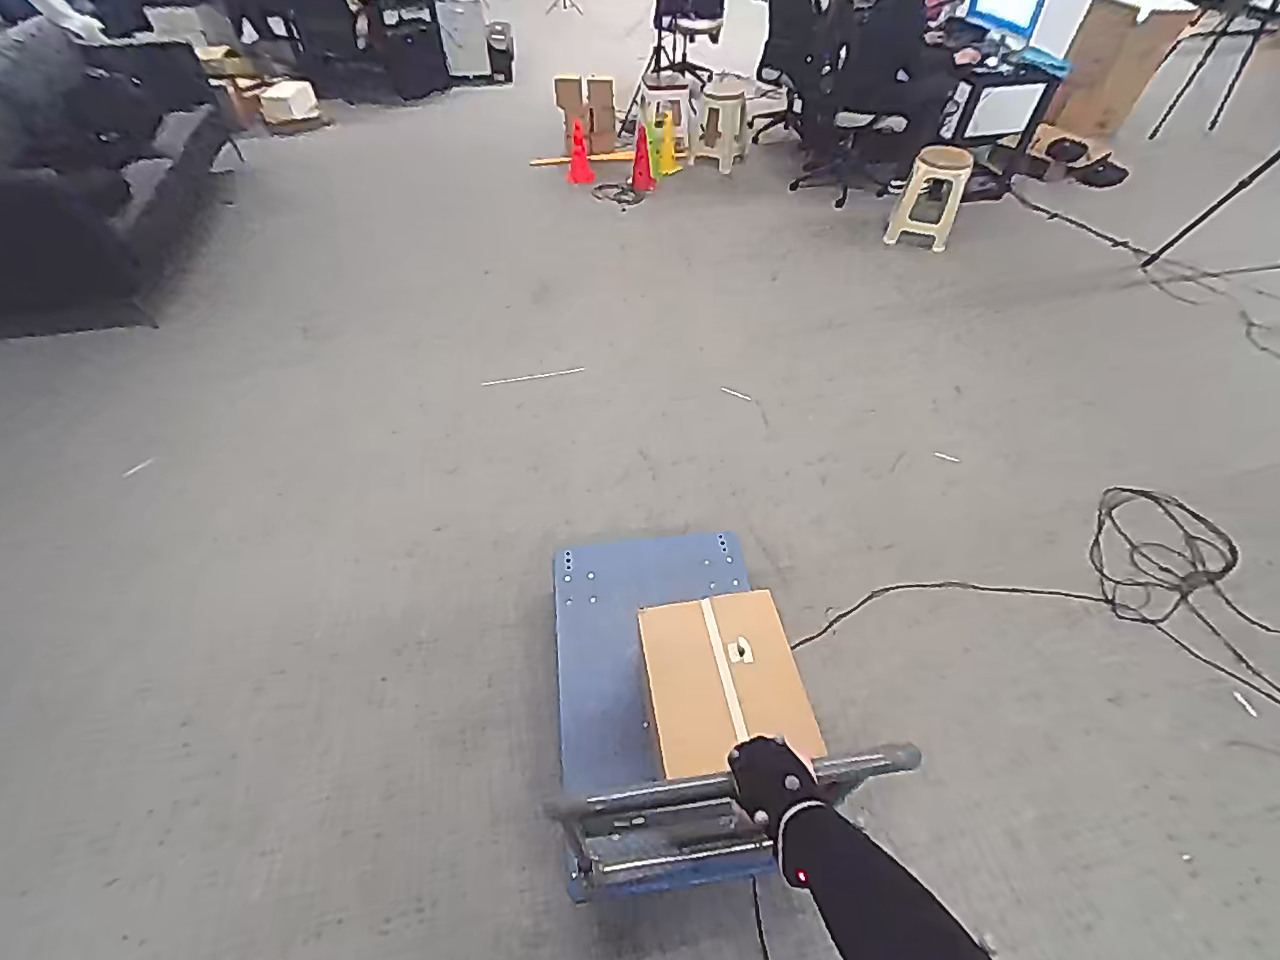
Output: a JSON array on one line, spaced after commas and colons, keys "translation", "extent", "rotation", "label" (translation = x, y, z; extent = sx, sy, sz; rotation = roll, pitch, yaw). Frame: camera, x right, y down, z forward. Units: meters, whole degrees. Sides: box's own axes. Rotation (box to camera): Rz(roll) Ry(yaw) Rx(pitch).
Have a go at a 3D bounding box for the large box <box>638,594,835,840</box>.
[{"translation": [0.182, 0.531, 1.224], "extent": [0.320, 0.320, 0.408], "rotation": [-7, 49, -7], "label": "large box"}]
